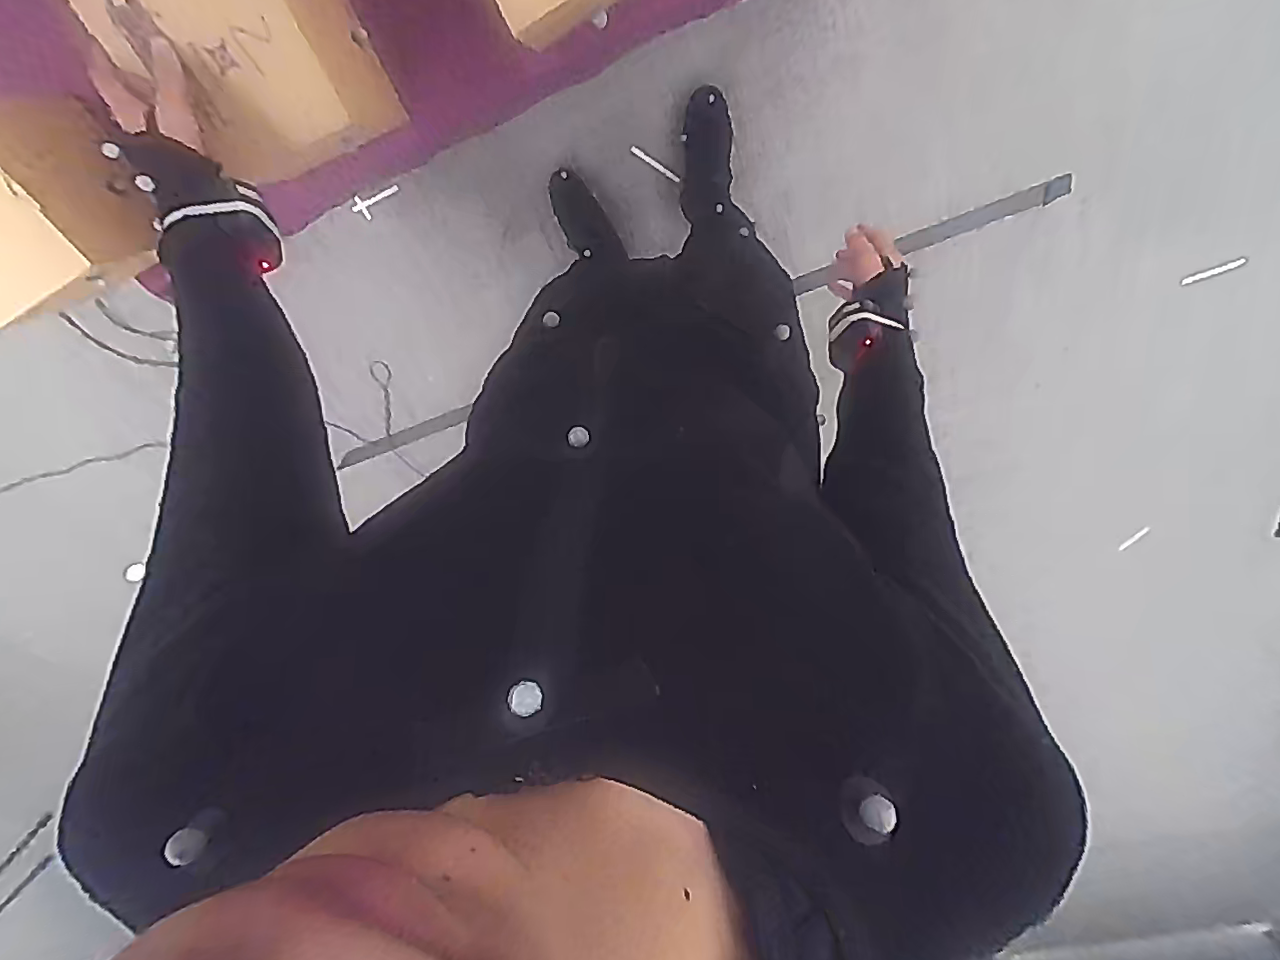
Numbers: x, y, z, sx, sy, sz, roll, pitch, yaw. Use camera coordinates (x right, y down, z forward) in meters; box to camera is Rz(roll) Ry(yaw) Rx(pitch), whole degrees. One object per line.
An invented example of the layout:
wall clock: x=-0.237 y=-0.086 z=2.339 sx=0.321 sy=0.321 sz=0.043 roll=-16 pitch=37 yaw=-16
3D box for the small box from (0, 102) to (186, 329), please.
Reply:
small box: x=-0.697 y=-0.305 z=0.626 sx=0.179 sy=0.176 sz=0.168 roll=-23 pitch=122 yaw=13

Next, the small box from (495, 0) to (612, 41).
small box: x=-0.079 y=-0.532 z=0.477 sx=0.168 sy=0.176 sz=0.179 roll=-22 pitch=123 yaw=14
